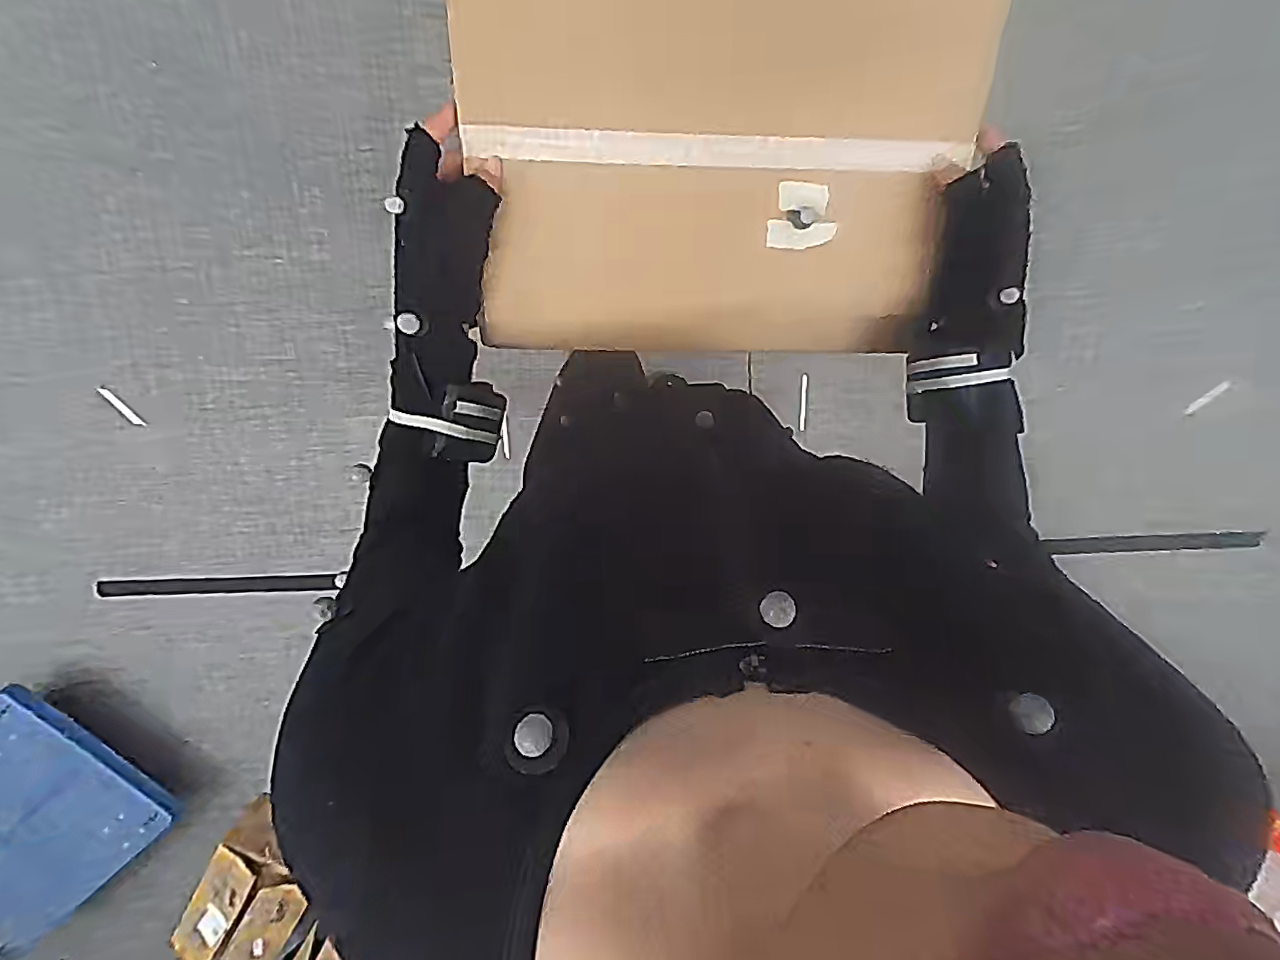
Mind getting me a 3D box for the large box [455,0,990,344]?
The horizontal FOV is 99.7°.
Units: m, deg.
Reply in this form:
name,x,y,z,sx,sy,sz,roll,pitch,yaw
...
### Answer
name,x,y,z,sx,sy,sz,roll,pitch,yaw
large box,0.052,-0.330,0.568,0.408,0.320,0.320,-2,116,-5
